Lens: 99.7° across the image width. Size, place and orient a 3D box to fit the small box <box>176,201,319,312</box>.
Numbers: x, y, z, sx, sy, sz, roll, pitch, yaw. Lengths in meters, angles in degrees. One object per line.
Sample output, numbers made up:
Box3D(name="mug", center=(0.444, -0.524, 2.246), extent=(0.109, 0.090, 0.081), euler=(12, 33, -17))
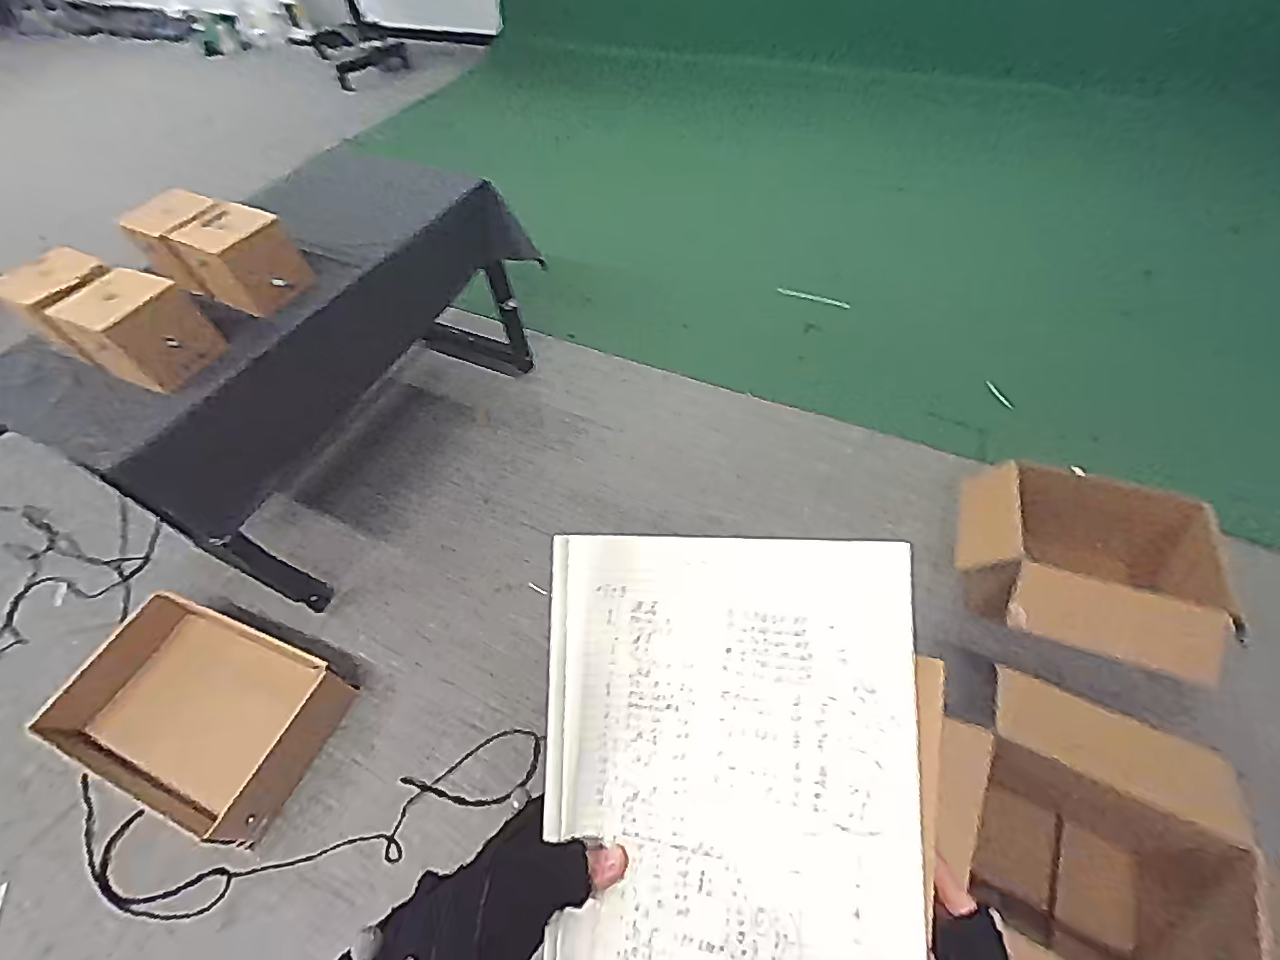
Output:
Box3D(name="small box", center=(-0.911, -0.522, 1.271), extent=(0.179, 0.176, 0.168), euler=(23, 59, 20))

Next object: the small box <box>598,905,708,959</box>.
Box3D(name="small box", center=(0.034, 0.960, 1.032), extent=(0.168, 0.176, 0.179), euler=(-43, 42, -10))

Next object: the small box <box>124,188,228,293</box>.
Box3D(name="small box", center=(-1.092, -0.590, 1.340), extent=(0.179, 0.176, 0.168), euler=(23, 60, 20))

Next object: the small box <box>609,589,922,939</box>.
Box3D(name="small box", center=(0.100, 0.195, 0.412), extent=(0.179, 0.176, 0.168), euler=(6, 67, 20))
